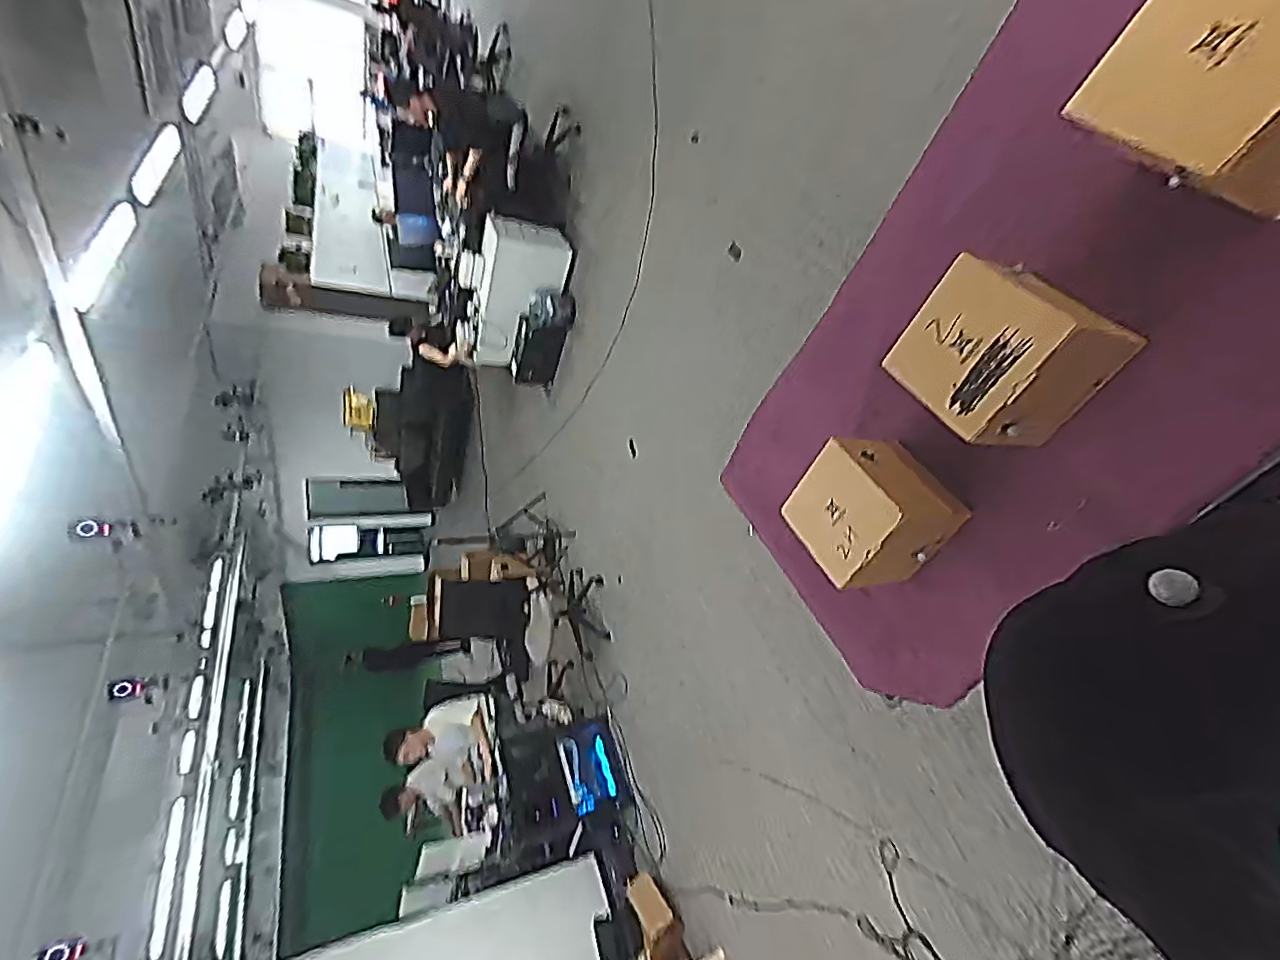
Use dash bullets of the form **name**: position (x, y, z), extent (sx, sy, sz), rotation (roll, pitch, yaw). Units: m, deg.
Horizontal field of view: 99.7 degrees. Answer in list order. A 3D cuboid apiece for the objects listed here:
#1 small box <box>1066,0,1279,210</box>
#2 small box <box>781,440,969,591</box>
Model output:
- **small box**: position (0.570, -0.379, 0.501), extent (0.168, 0.176, 0.179), rotation (-63, 38, 41)
- **small box**: position (0.370, 0.056, 0.868), extent (0.179, 0.176, 0.168), rotation (61, 139, 40)
